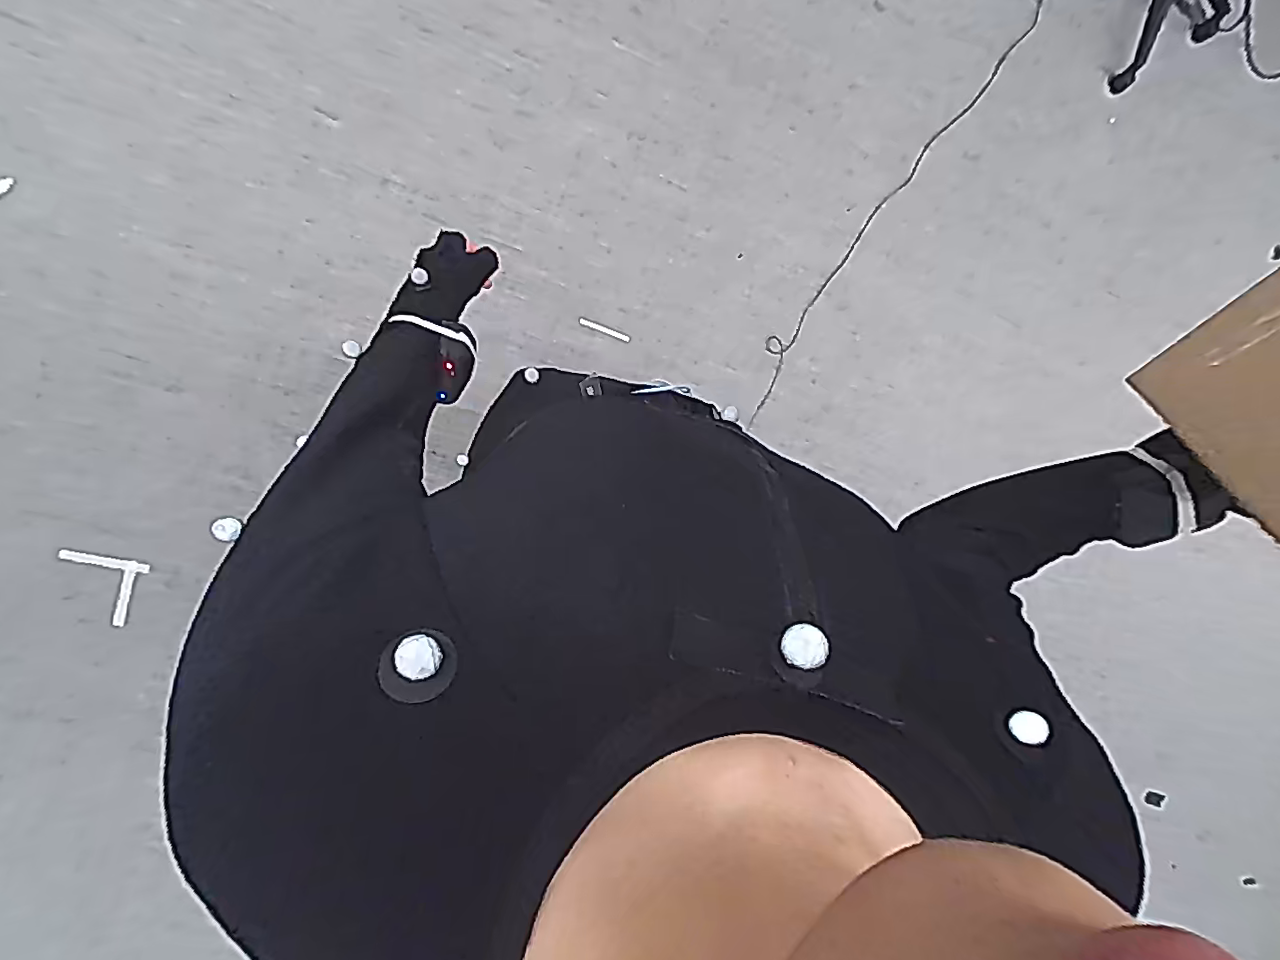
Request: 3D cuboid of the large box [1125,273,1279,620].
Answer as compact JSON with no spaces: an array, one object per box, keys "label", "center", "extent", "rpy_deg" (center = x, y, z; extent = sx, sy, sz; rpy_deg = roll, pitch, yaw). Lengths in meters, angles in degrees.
[{"label":"large box","center":[0.461,0.016,0.161],"extent":[0.320,0.408,0.320],"rpy_deg":[43,130,4]}]
